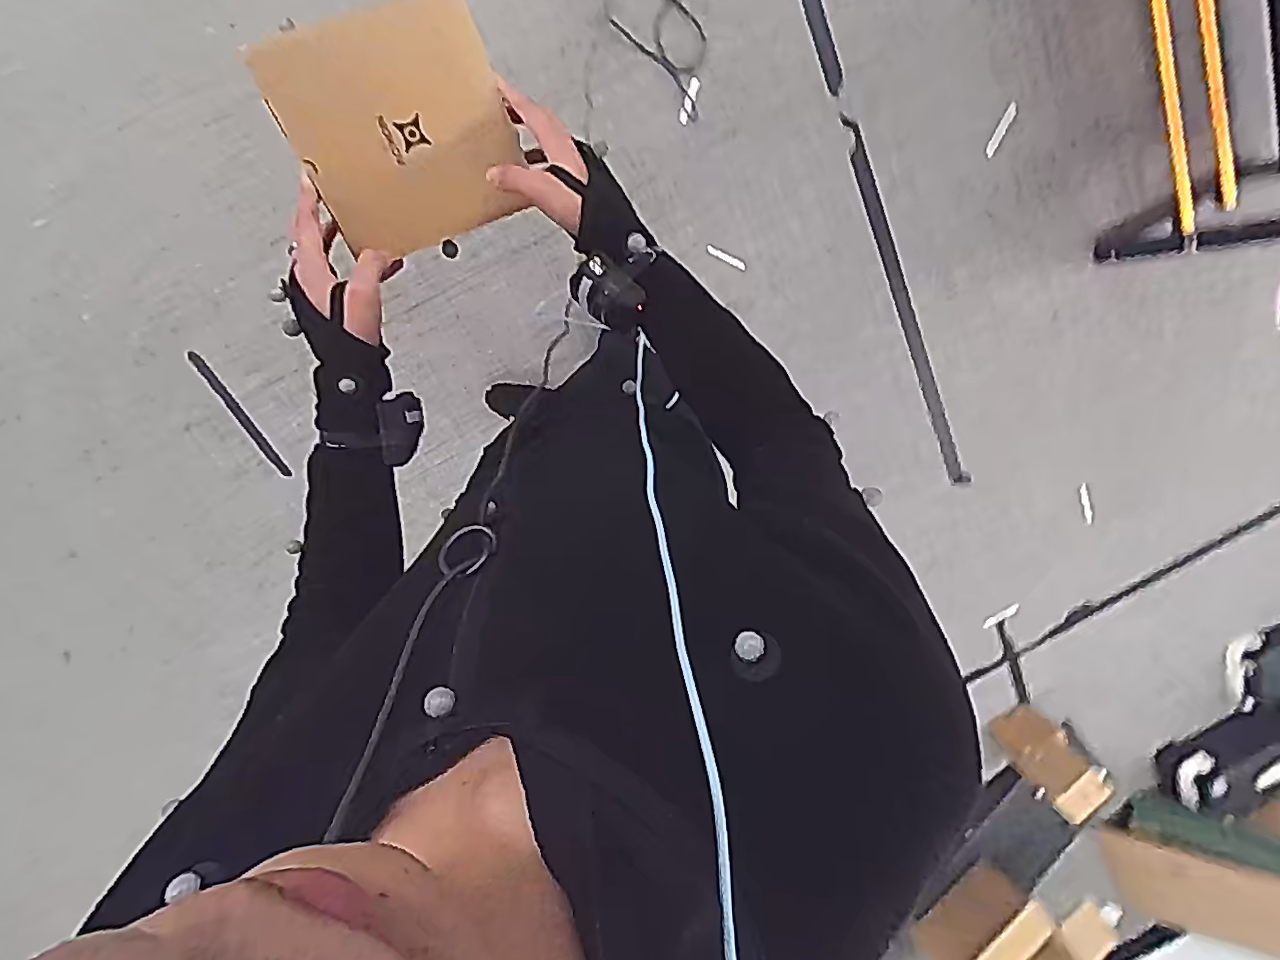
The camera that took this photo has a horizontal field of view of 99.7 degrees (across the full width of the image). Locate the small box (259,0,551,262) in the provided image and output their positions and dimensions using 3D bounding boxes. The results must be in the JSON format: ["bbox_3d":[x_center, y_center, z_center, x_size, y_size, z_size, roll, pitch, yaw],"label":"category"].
[{"bbox_3d":[-0.208,-0.328,0.516,0.179,0.176,0.168,-25,122,-7],"label":"small box"}]
